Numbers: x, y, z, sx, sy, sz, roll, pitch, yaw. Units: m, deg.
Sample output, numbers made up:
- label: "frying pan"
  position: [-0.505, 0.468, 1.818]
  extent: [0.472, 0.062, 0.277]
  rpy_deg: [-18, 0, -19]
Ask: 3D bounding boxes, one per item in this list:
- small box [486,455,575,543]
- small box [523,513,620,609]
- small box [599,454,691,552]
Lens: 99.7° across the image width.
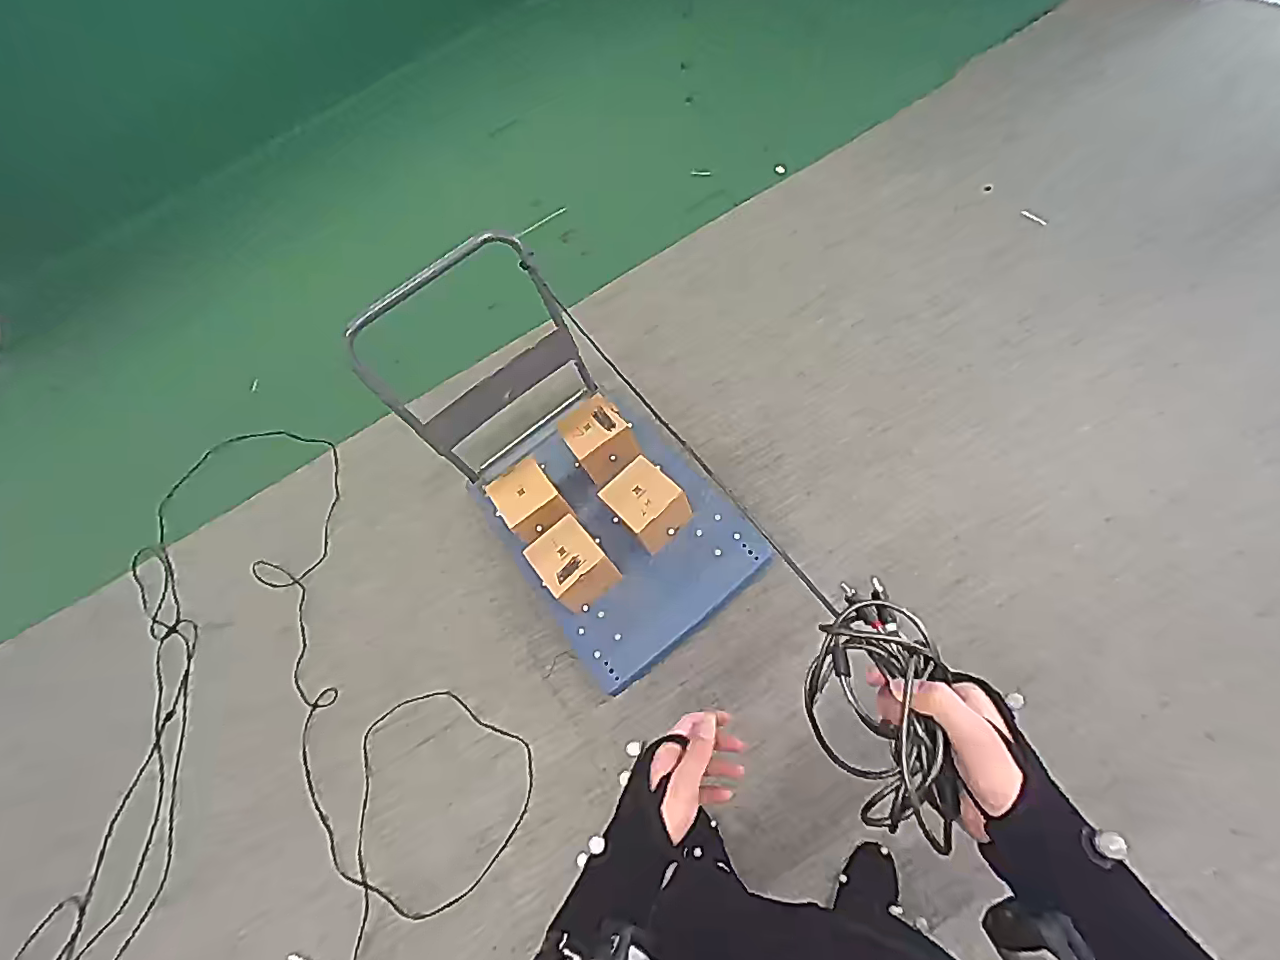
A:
- label: "small box"
  position: [-0.316, 0.064, 1.592]
  extent: [0.168, 0.176, 0.179]
  rpy_deg: [-37, 58, -7]
- label: "small box"
  position: [-0.179, 0.227, 1.461]
  extent: [0.168, 0.176, 0.179]
  rpy_deg: [-39, 58, -9]
- label: "small box"
  position: [0.019, 0.069, 1.494]
  extent: [0.168, 0.176, 0.179]
  rpy_deg: [-42, 59, -9]
